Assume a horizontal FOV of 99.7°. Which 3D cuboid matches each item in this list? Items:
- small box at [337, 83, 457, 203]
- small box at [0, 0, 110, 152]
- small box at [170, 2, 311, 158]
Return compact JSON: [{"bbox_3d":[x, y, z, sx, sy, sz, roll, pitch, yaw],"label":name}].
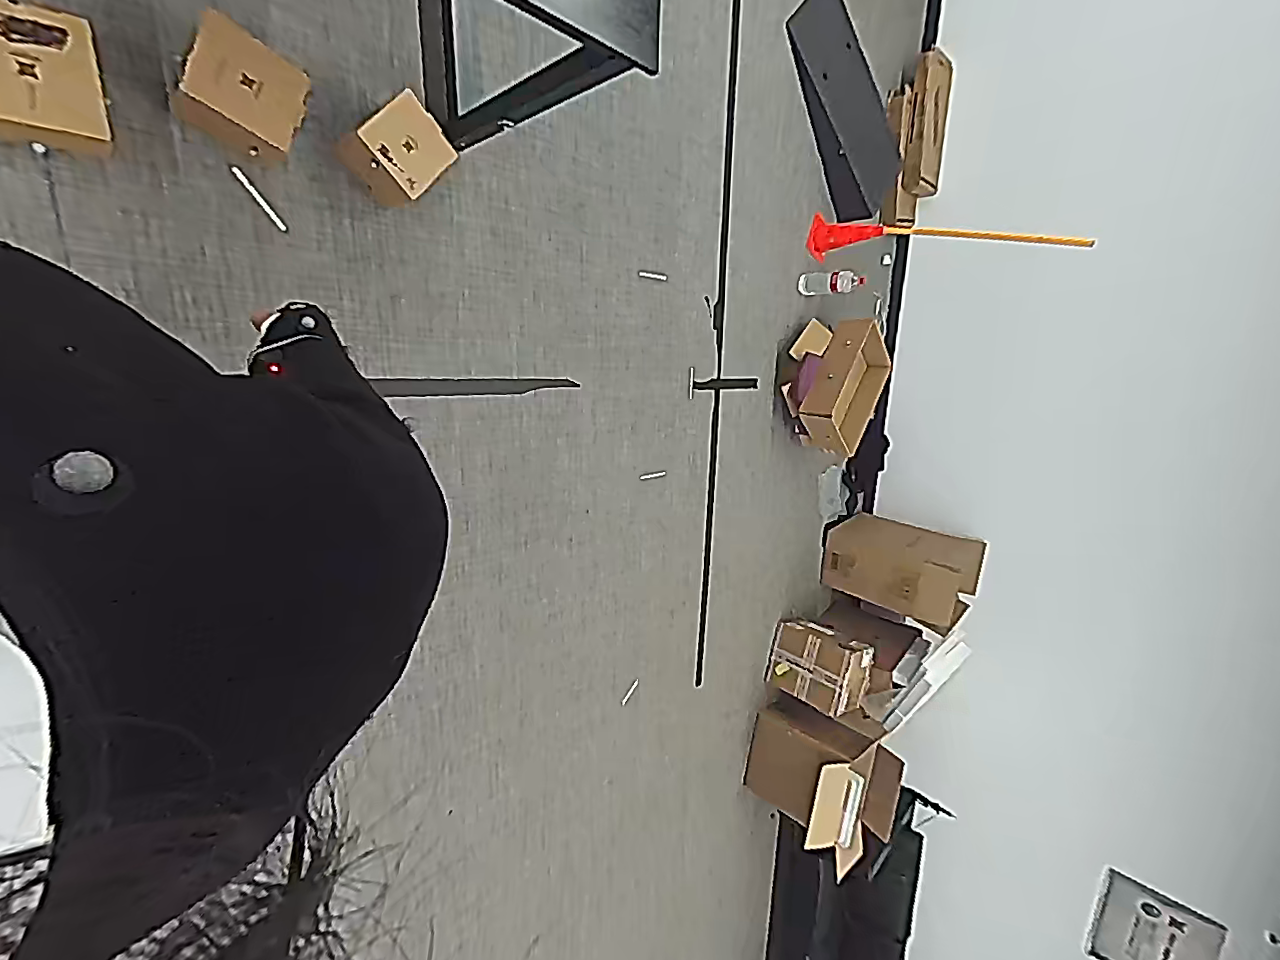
[{"bbox_3d":[-0.584,-0.797,1.293,0.179,0.176,0.168,-57,134,-18],"label":"small box"},{"bbox_3d":[-1.005,-0.670,0.887,0.168,0.176,0.179,-13,112,-44],"label":"small box"},{"bbox_3d":[-0.797,-0.776,1.078,0.179,0.176,0.168,18,87,-47],"label":"small box"}]
